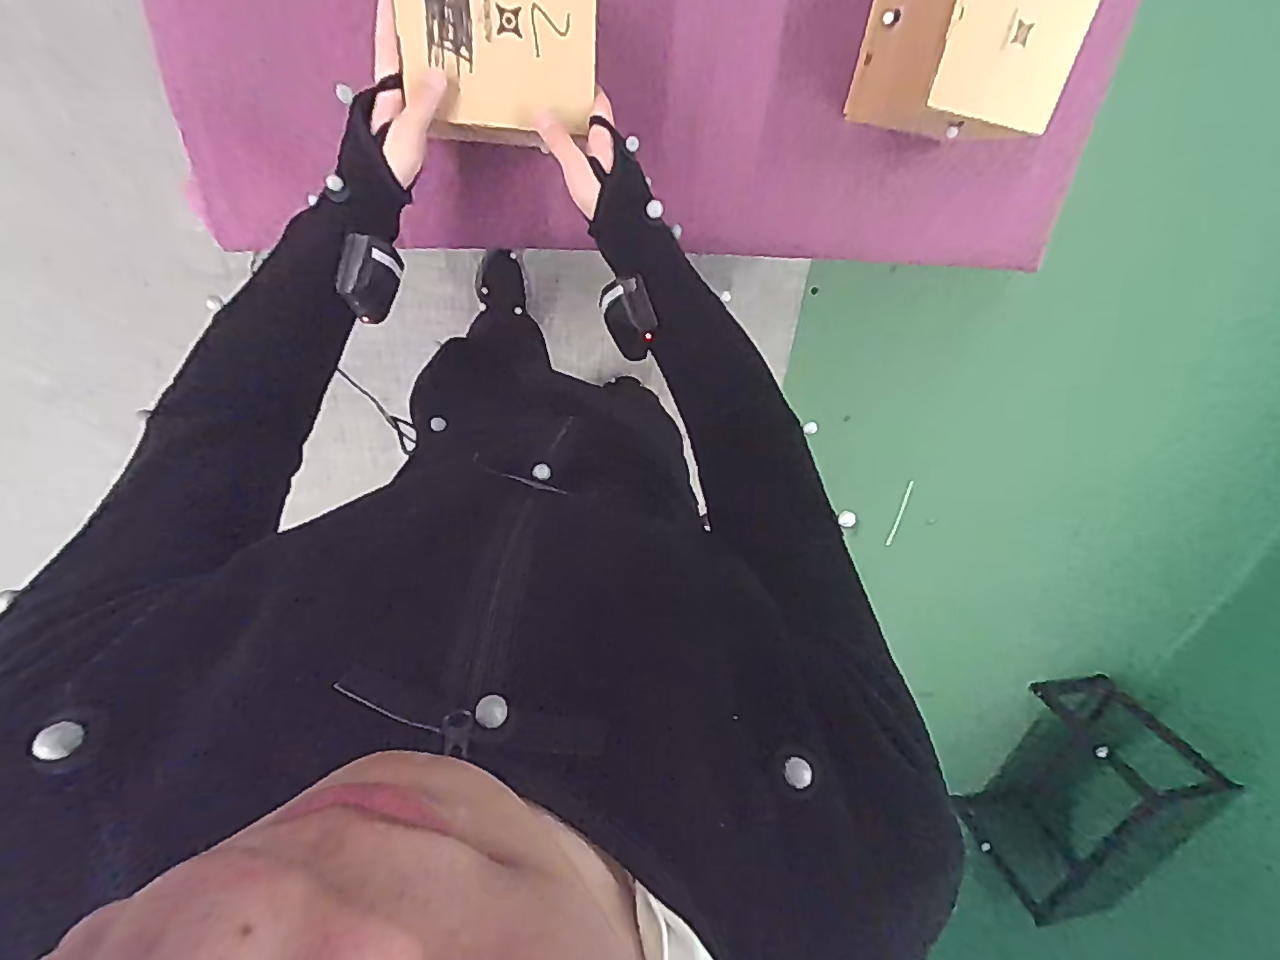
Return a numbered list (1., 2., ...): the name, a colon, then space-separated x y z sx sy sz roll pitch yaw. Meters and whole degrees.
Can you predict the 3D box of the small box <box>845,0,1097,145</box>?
1. small box: 0.391 -0.522 0.662 0.179 0.176 0.168 1 119 -16
